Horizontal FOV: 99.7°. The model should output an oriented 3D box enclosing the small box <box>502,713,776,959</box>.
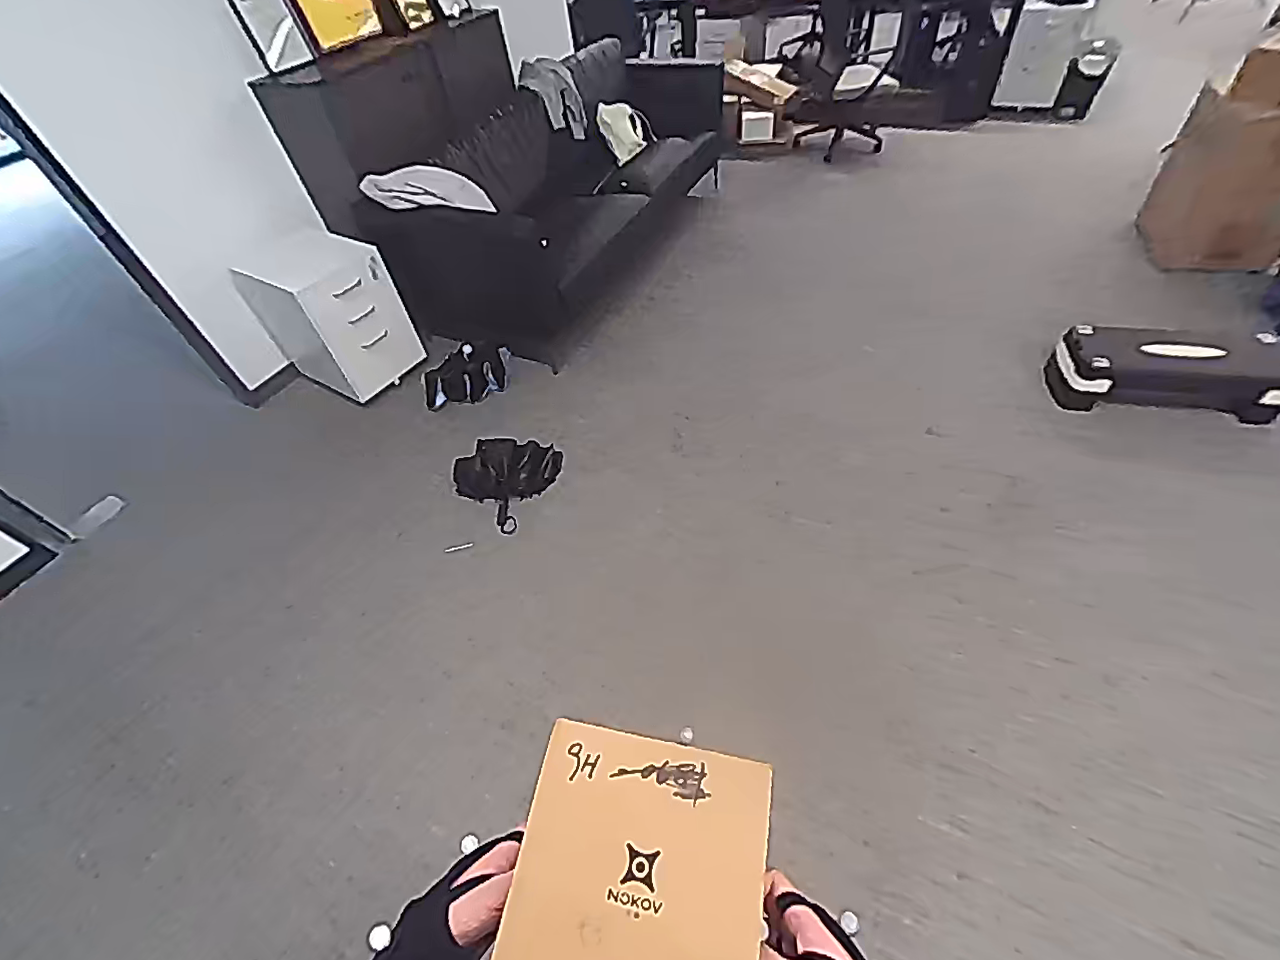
[{"bbox_3d":[0.009,0.304,0.433,0.168,0.176,0.179,8,61,9],"label":"small box"}]
